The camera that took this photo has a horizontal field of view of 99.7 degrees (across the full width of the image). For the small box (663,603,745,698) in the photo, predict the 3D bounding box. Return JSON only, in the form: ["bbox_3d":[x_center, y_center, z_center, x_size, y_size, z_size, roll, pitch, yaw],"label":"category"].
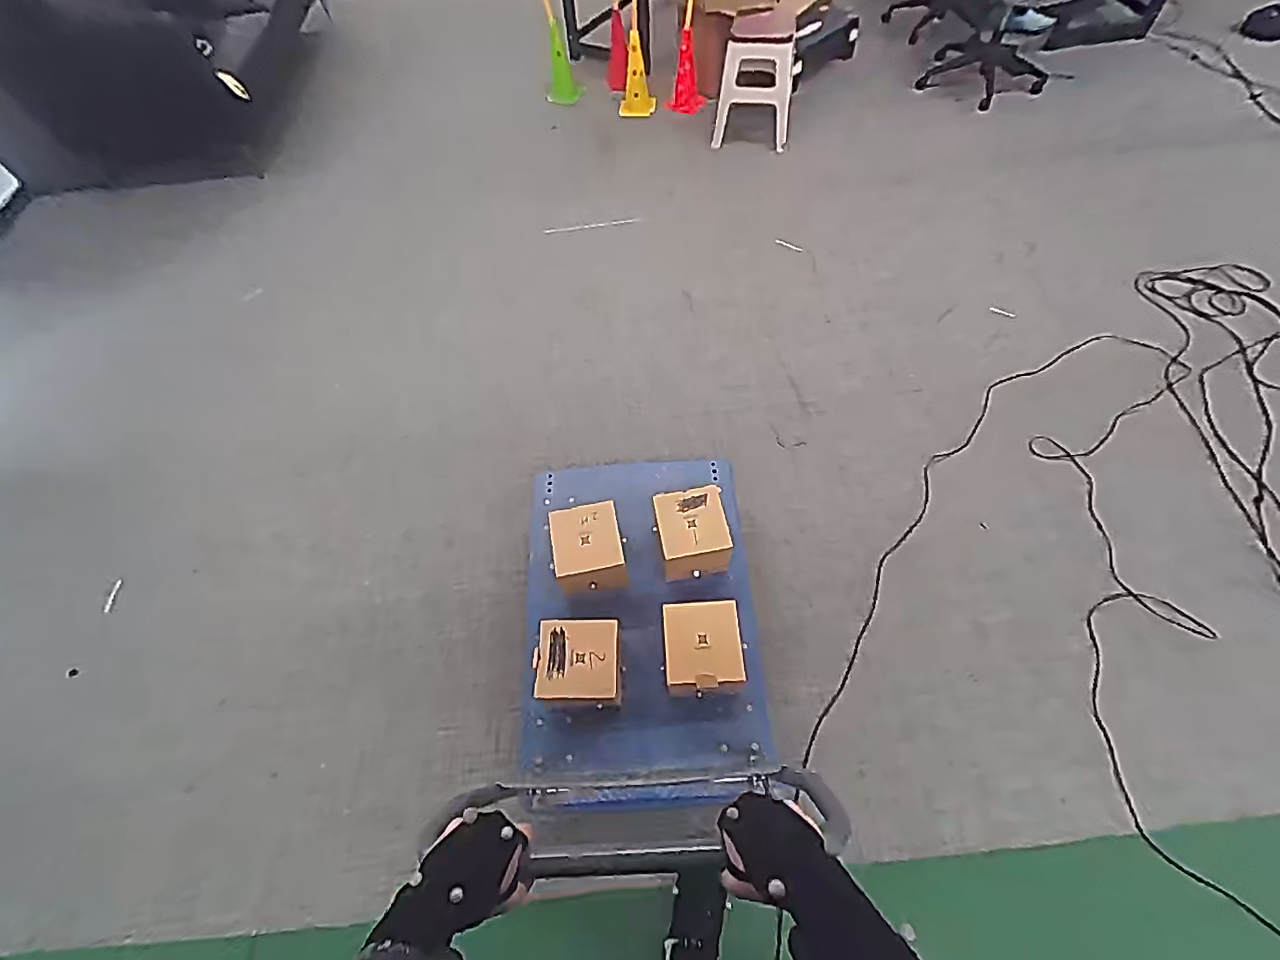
[{"bbox_3d":[0.139,0.395,1.244,0.168,0.176,0.179,-4,61,1],"label":"small box"}]

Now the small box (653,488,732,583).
[{"bbox_3d":[0.128,0.145,1.385,0.168,0.176,0.179,-10,61,-2],"label":"small box"}]

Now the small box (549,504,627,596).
[{"bbox_3d":[-0.129,0.185,1.376,0.168,0.176,0.179,-10,60,-3],"label":"small box"}]
